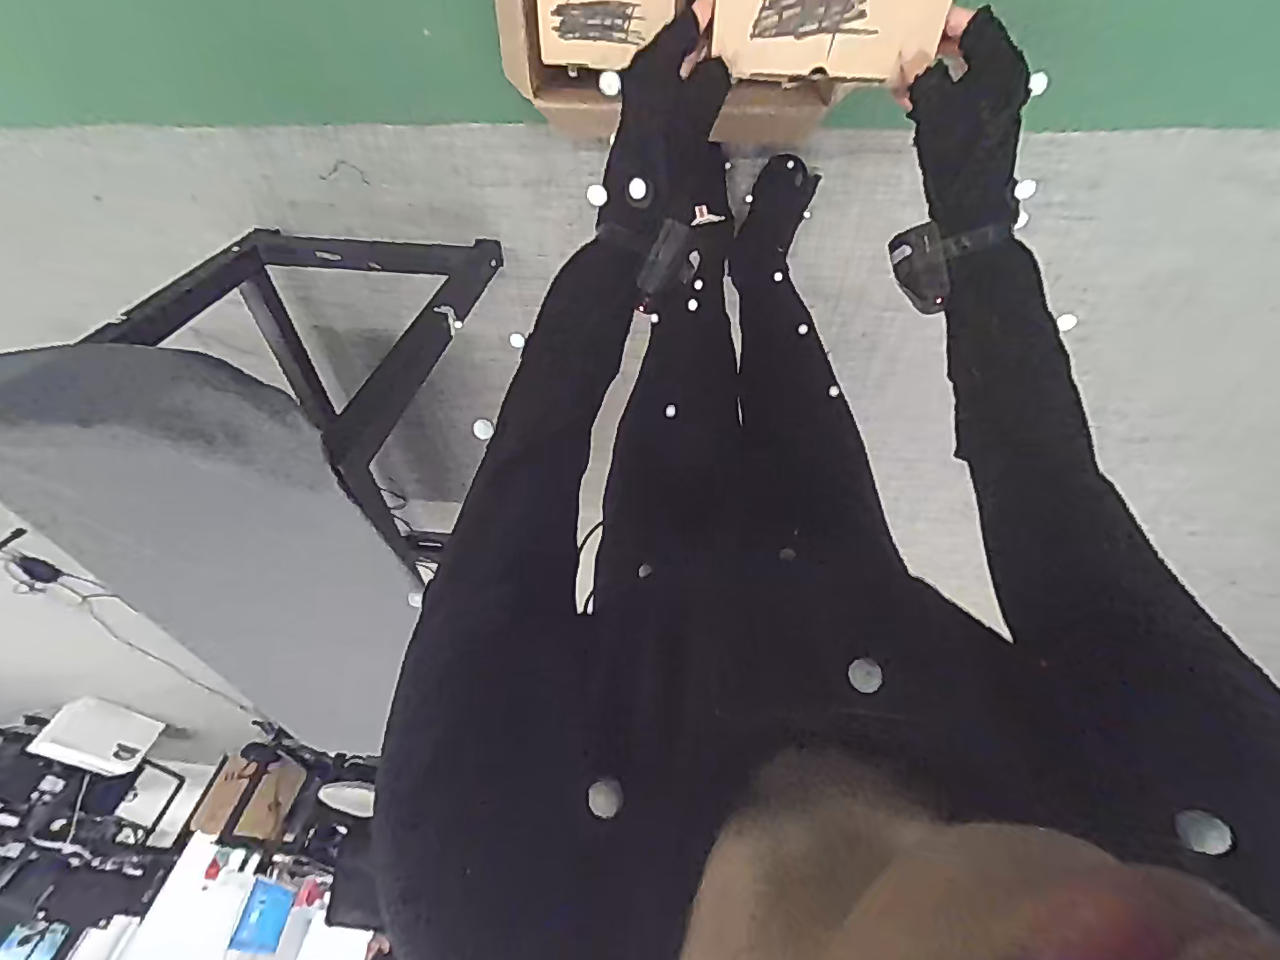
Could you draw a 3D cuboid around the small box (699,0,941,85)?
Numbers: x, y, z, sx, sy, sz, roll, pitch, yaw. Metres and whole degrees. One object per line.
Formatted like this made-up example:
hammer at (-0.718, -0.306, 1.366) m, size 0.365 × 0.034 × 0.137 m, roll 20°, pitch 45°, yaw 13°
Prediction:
small box at (0.137, -0.424, 0.419) m, size 0.168 × 0.176 × 0.179 m, roll 3°, pitch 129°, yaw 1°
